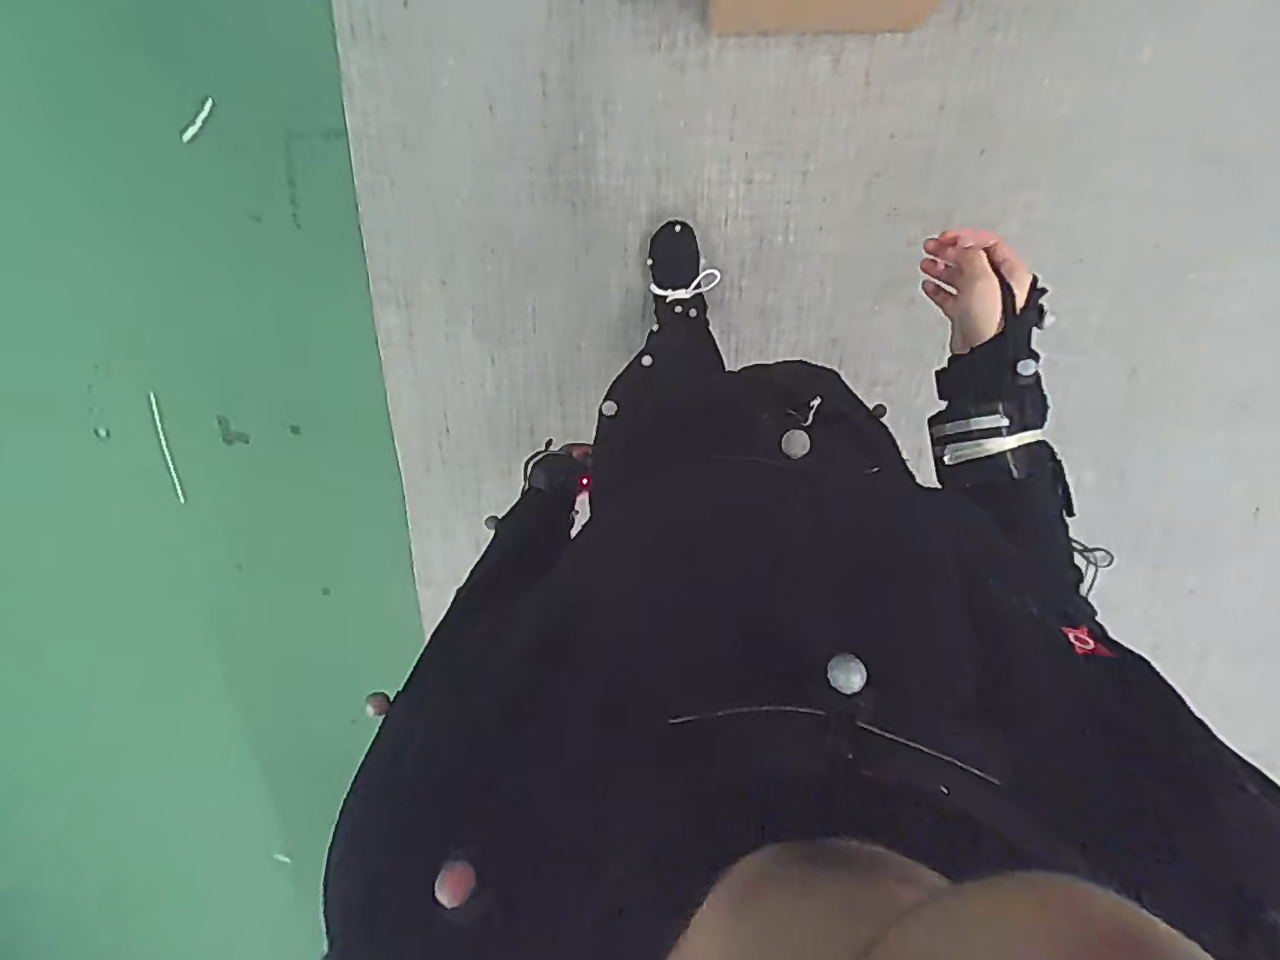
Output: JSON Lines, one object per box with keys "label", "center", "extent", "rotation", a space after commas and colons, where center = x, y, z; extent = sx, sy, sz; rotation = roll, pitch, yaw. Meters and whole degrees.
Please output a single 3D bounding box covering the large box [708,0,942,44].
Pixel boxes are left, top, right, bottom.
{"label": "large box", "center": [0.318, -0.952, 0.865], "extent": [0.408, 0.320, 0.320], "rotation": [1, 110, 3]}
